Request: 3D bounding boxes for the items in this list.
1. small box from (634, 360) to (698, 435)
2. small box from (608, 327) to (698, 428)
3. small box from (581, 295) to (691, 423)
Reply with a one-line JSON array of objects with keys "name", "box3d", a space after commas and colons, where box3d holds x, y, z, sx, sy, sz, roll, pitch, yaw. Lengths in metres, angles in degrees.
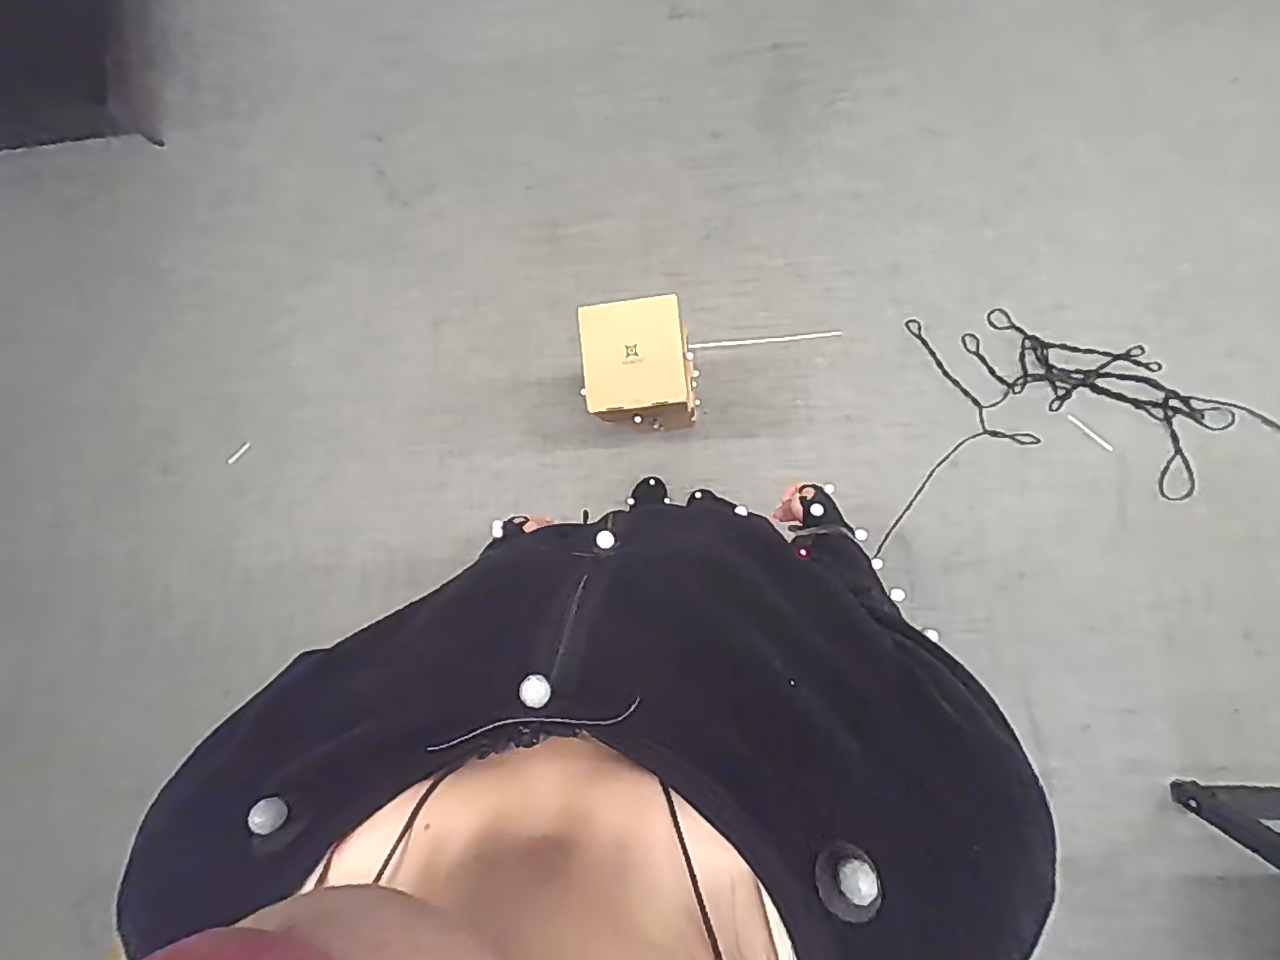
[{"name": "small box", "box3d": [0.063, -0.212, 1.436, 0.179, 0.176, 0.168, -4, 89, 6]}, {"name": "small box", "box3d": [0.023, -0.203, 1.111, 0.179, 0.176, 0.168, -6, 89, 6]}, {"name": "small box", "box3d": [0.000, -0.202, 0.949, 0.168, 0.176, 0.179, -6, 90, 7]}]
